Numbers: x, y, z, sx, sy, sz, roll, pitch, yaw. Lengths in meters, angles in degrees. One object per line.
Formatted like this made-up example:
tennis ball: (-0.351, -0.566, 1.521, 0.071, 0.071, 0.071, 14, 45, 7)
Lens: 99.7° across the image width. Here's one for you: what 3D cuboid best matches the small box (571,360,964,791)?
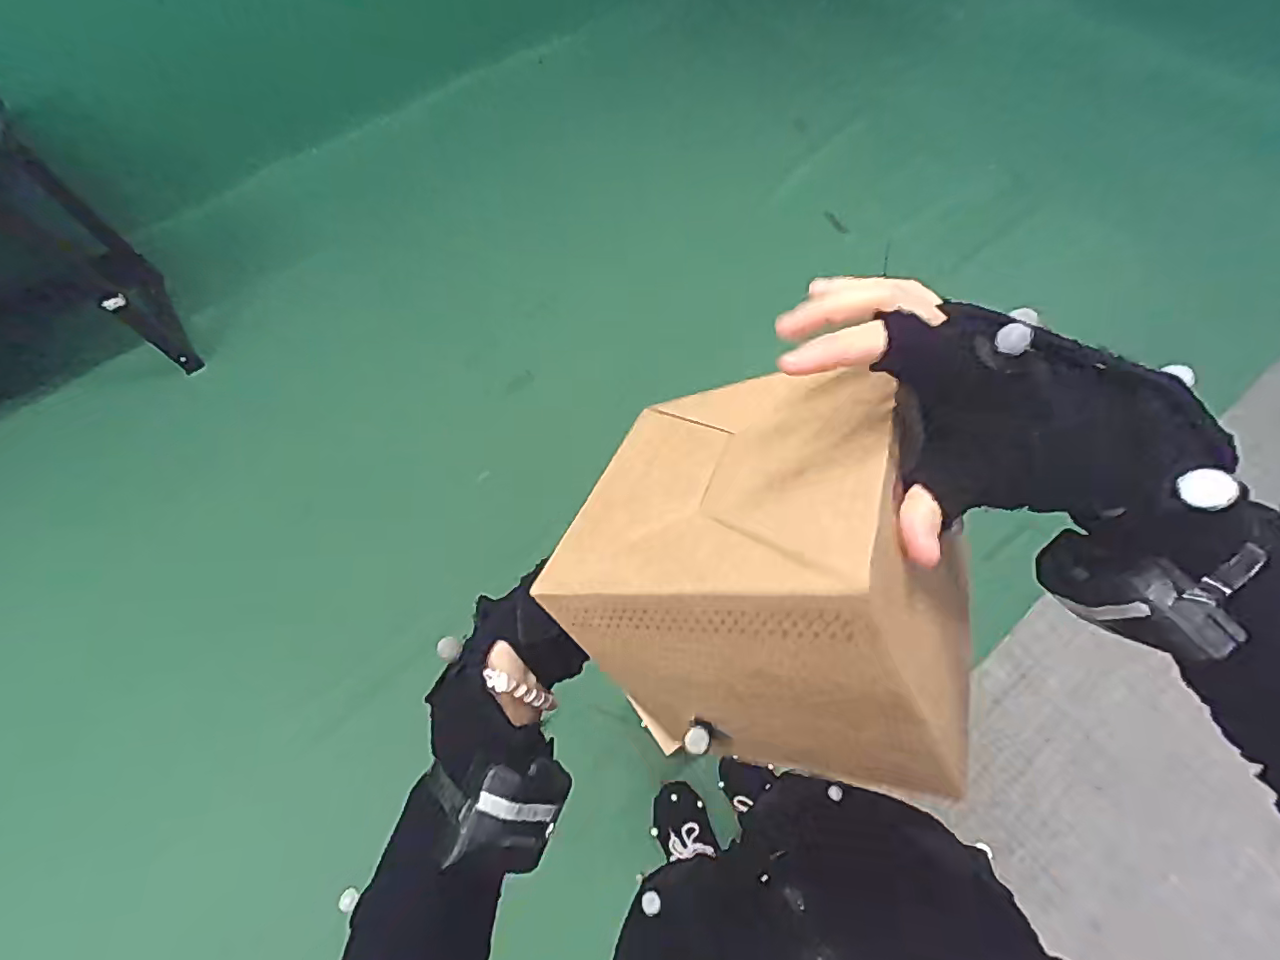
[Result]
small box: (0.082, 0.052, 0.326, 0.179, 0.176, 0.168, -7, 43, 38)
